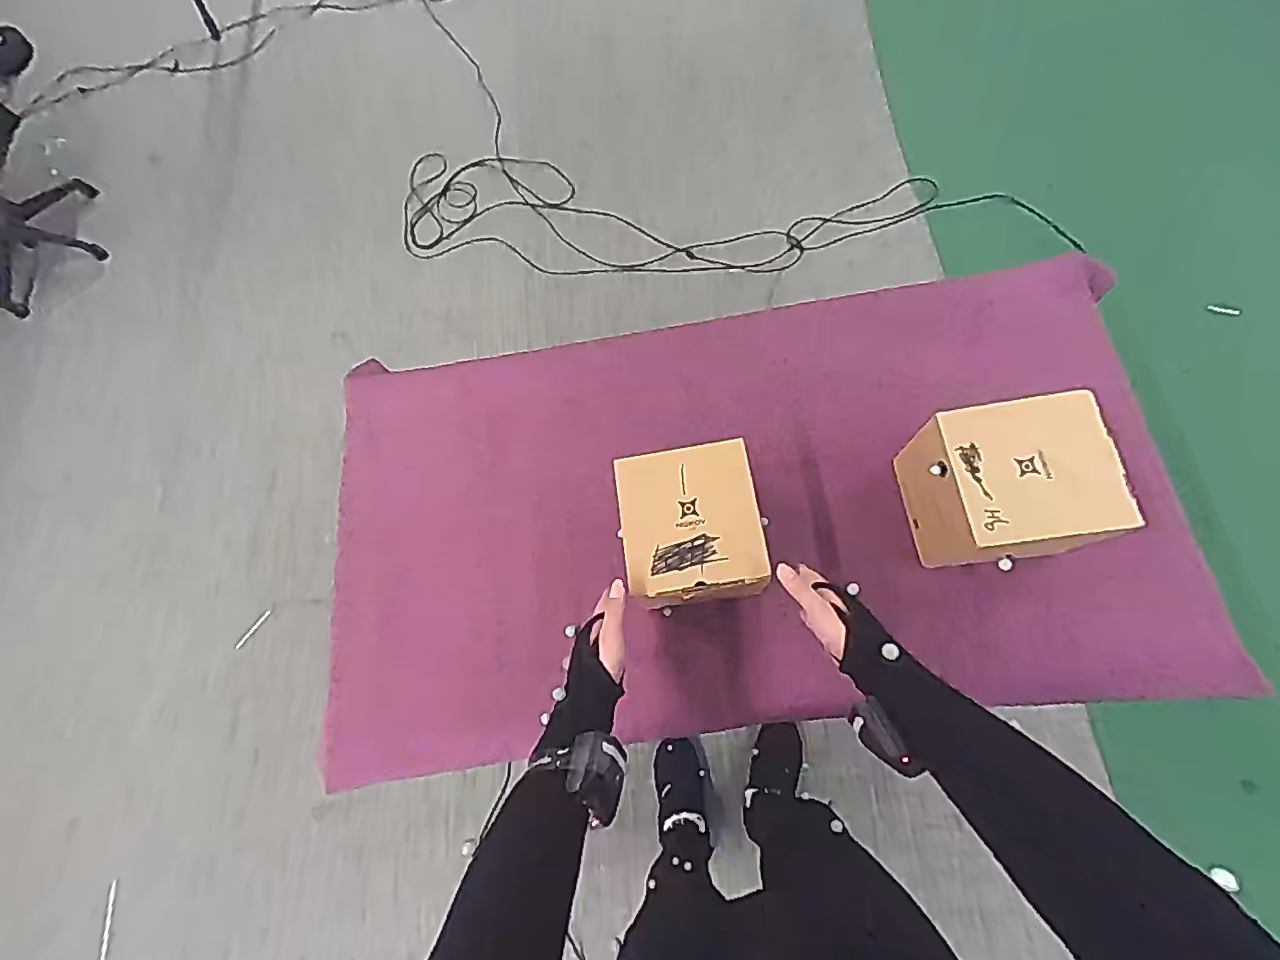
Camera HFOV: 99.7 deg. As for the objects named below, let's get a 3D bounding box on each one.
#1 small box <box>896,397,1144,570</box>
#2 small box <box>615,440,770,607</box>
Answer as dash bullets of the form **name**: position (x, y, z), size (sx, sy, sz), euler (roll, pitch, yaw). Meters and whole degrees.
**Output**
- **small box**: position (0.454, 0.014, 0.681), size (0.179, 0.176, 0.168), euler (-8, 71, 5)
- **small box**: position (0.068, 0.069, 0.712), size (0.168, 0.176, 0.179), euler (-9, 70, 4)
